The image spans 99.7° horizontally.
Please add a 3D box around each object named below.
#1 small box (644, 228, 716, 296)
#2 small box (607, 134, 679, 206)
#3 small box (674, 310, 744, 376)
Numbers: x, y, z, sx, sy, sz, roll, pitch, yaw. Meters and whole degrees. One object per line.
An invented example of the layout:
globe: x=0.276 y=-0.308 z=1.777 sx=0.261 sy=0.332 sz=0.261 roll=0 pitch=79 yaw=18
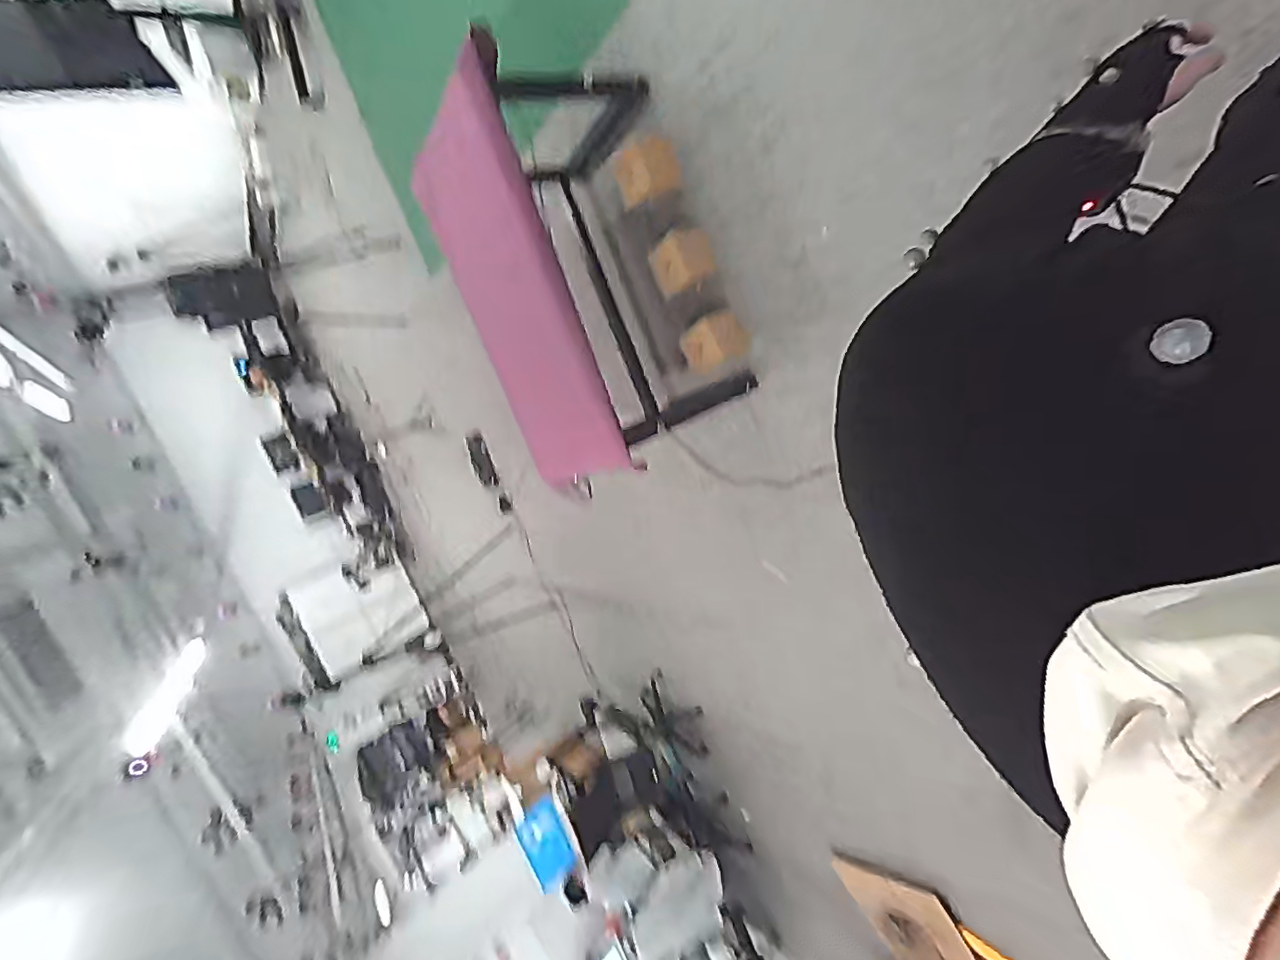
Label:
small box: x=0.150 y=-0.815 z=2.009 sx=0.168 sy=0.176 sz=0.179 roll=-19 pitch=98 yaw=57
small box: x=0.016 y=-1.130 z=1.967 sx=0.168 sy=0.176 sz=0.179 roll=-7 pitch=107 yaw=55
small box: x=0.269 y=-0.523 z=2.053 sx=0.179 sy=0.176 sz=0.168 roll=-23 pitch=94 yaw=57
